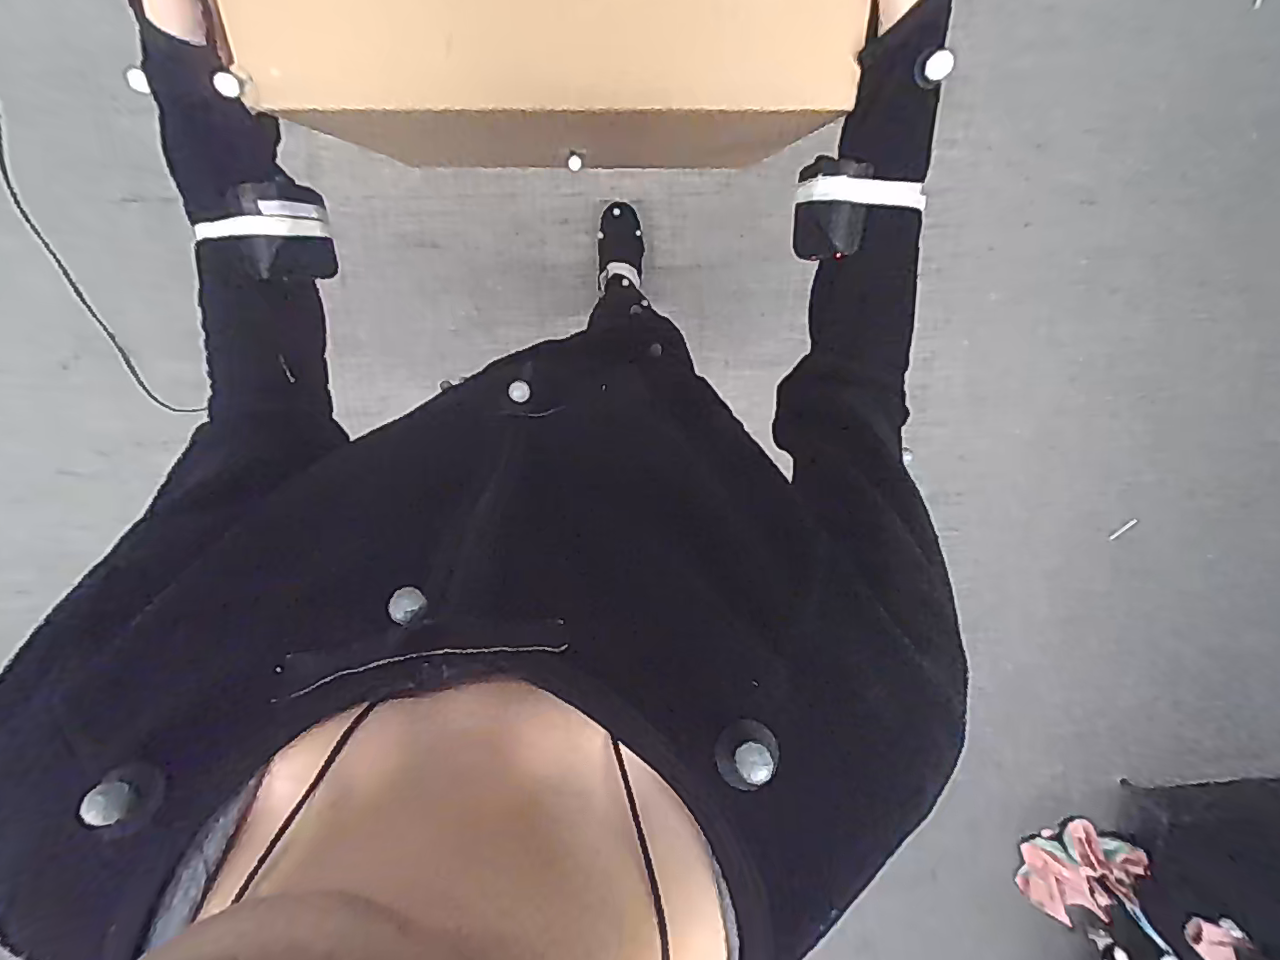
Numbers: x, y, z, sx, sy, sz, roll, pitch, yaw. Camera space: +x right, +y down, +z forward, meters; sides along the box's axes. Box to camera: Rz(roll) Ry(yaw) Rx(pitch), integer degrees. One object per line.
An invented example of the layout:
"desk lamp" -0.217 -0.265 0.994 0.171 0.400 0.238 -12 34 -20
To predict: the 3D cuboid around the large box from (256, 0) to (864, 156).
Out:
"large box" -0.055 -0.464 0.448 0.408 0.320 0.320 -1 113 -2
